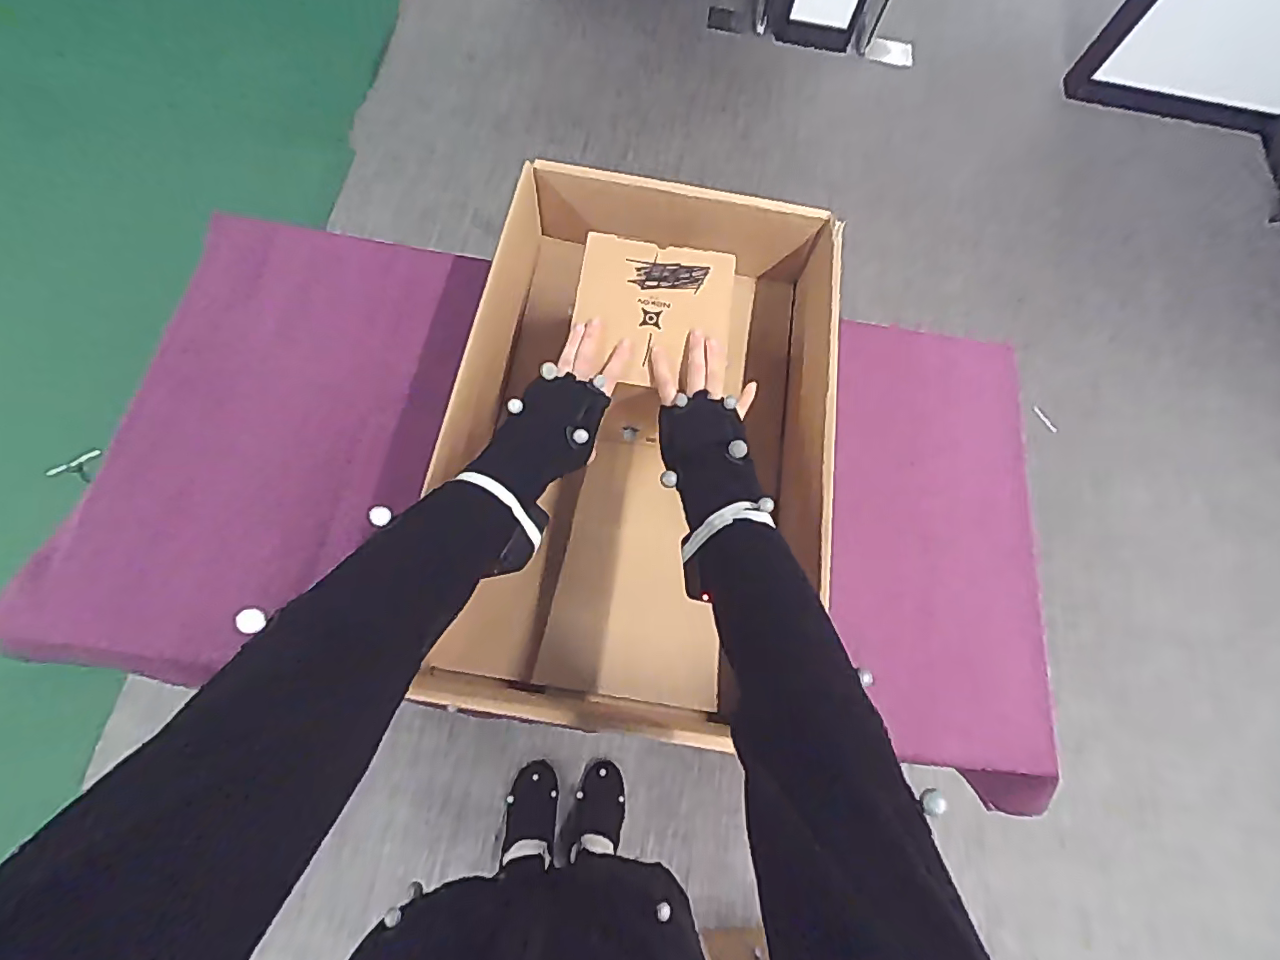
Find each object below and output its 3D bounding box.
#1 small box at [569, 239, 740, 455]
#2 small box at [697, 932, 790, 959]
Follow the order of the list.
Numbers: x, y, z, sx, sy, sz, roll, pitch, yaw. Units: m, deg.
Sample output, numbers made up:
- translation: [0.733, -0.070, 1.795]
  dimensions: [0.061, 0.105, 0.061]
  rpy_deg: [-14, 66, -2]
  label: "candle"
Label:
- translation: [0.013, -0.147, 0.645]
  dimensions: [0.168, 0.176, 0.179]
  rpy_deg: [8, 74, -1]
  label: "small box"
- translation: [0.209, 1.043, 1.083]
  dimensions: [0.179, 0.176, 0.168]
  rpy_deg: [4, 70, -4]
  label: "small box"
